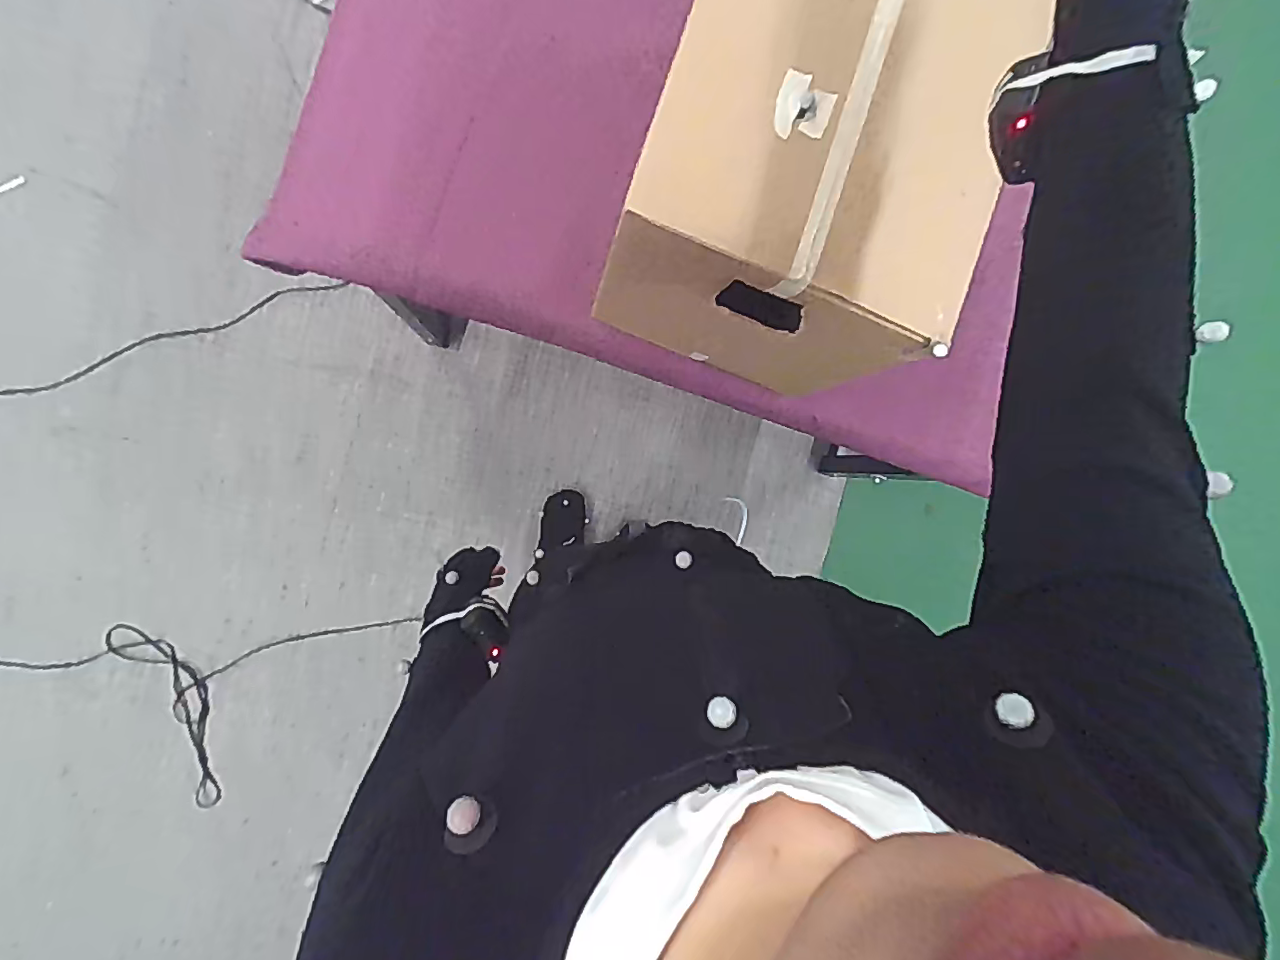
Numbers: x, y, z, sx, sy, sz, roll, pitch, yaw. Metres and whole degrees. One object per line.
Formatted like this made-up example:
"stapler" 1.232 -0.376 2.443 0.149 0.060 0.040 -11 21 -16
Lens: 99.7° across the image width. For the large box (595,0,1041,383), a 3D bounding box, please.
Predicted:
"large box" 0.165 -0.369 0.627 0.320 0.320 0.408 19 89 -10
